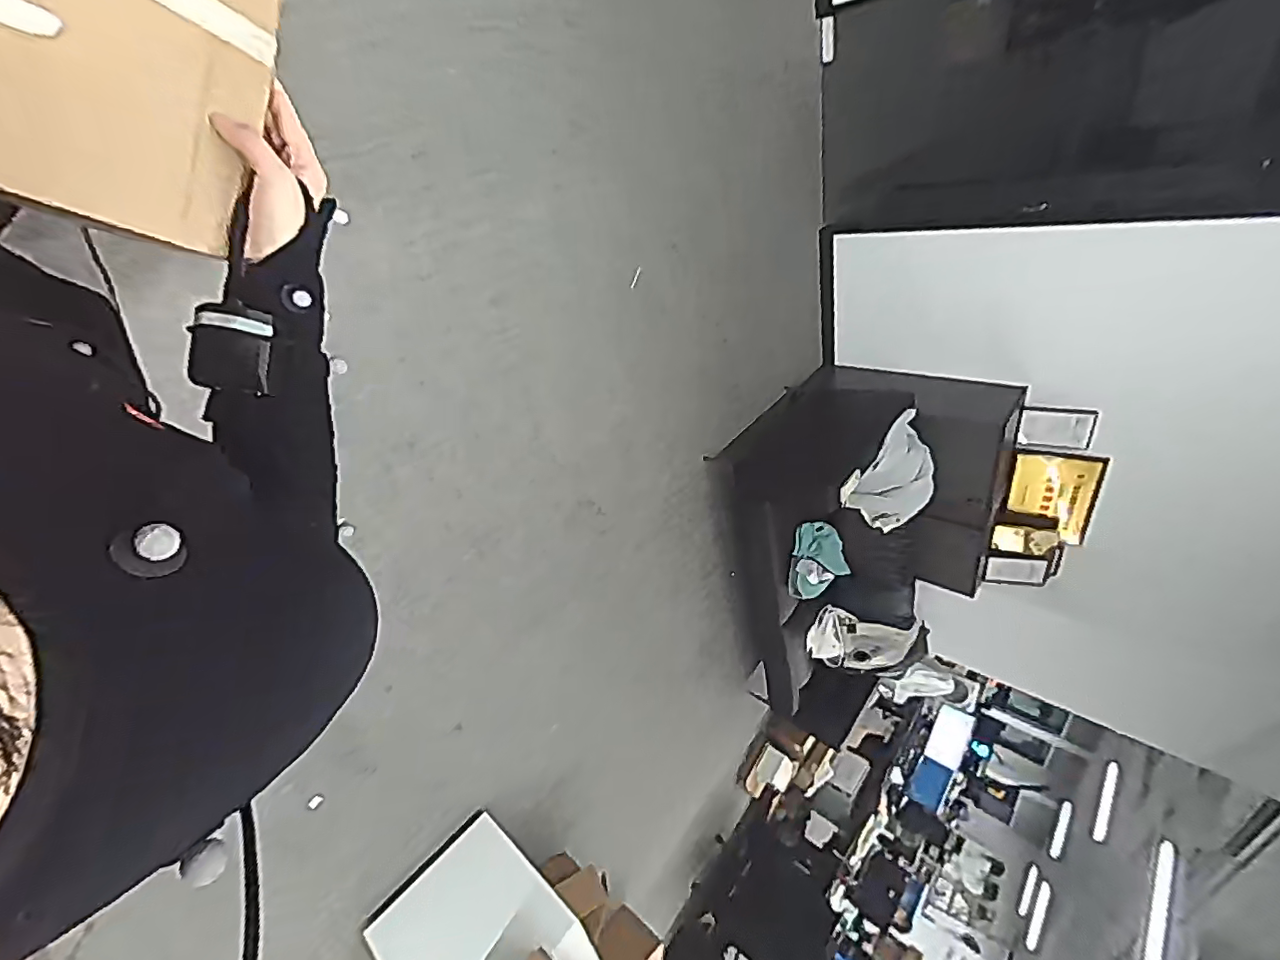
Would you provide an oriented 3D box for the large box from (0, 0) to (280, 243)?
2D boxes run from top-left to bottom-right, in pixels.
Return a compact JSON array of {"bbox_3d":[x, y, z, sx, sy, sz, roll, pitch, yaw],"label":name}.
[{"bbox_3d":[-0.513,-0.387,0.339,0.408,0.320,0.320,6,103,-54],"label":"large box"}]
